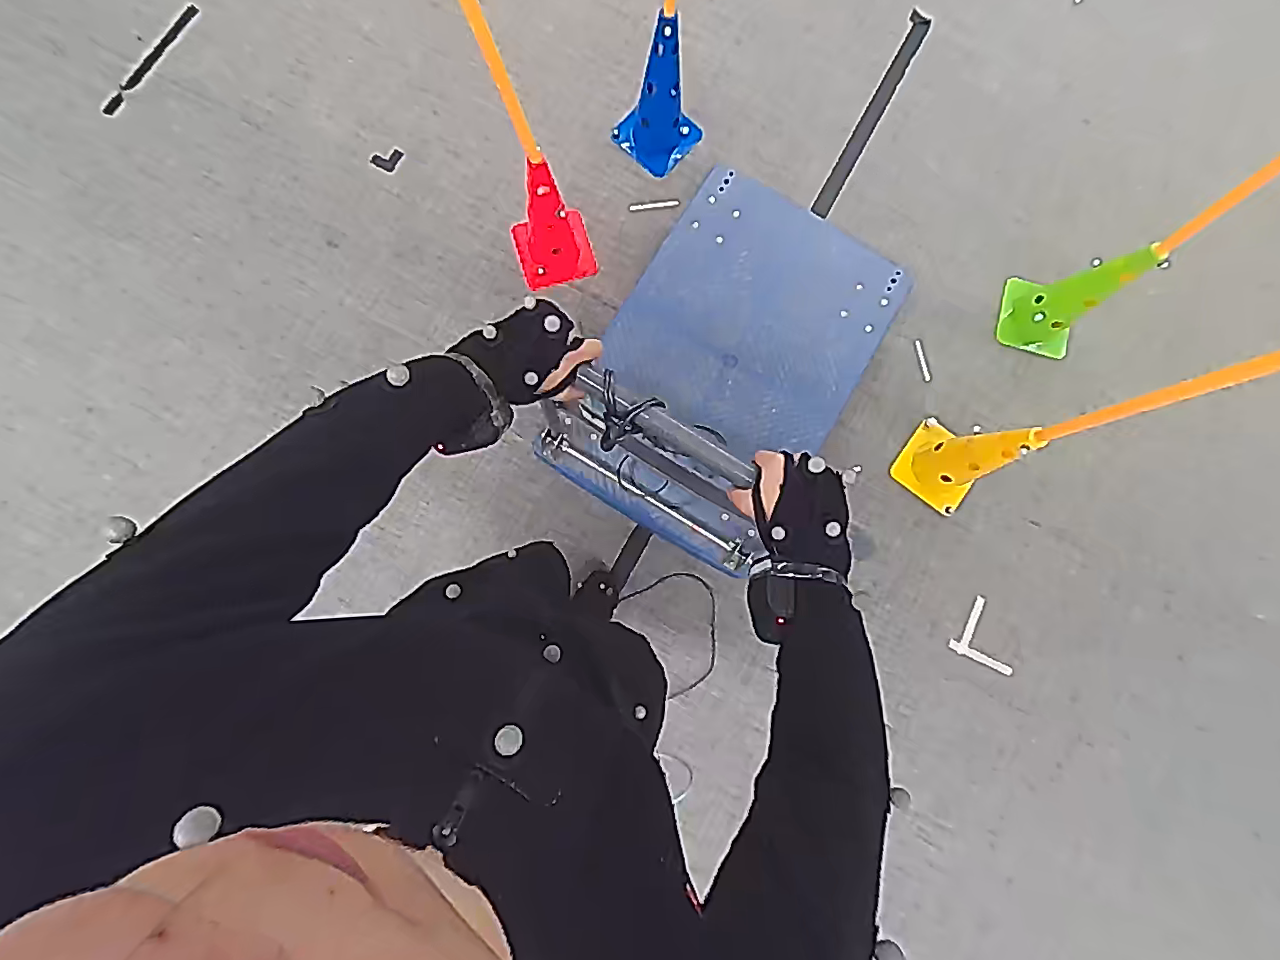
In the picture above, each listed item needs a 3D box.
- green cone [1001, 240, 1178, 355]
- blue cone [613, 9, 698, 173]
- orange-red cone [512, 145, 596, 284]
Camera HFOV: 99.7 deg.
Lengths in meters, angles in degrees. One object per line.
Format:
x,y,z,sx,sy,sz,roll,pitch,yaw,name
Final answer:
1.112,-0.476,1.321,0.200,0.368,0.202,15,84,0,green cone
0.052,-0.997,1.362,0.193,0.380,0.192,43,84,3,blue cone
-0.224,-0.657,1.291,0.199,0.360,0.198,-16,84,-6,orange-red cone
